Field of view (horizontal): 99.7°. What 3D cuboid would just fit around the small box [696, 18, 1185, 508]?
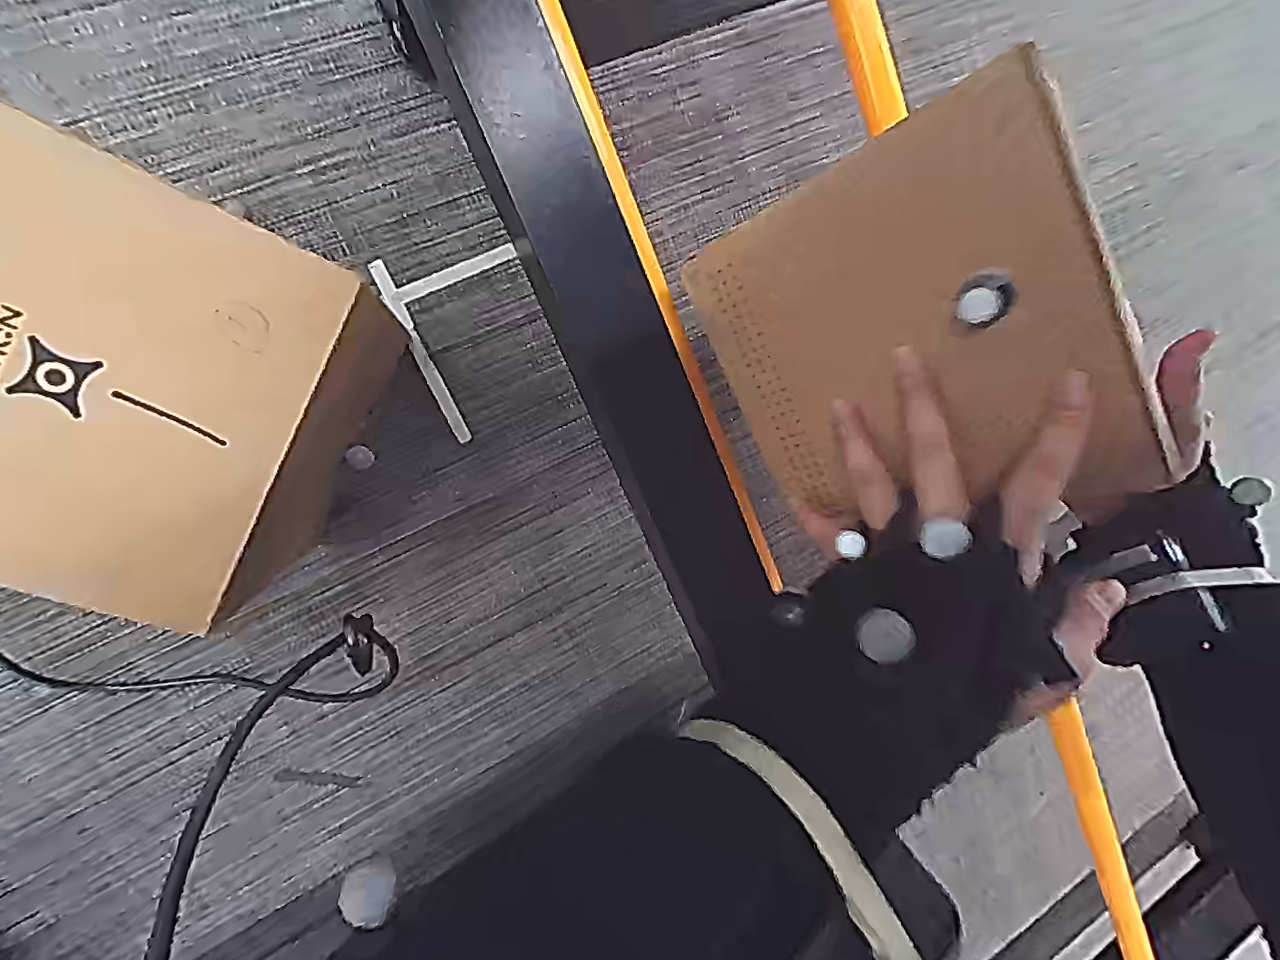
[{"bbox_3d":[0.164,-0.096,0.310,0.168,0.176,0.179,-36,103,-46],"label":"small box"}]
